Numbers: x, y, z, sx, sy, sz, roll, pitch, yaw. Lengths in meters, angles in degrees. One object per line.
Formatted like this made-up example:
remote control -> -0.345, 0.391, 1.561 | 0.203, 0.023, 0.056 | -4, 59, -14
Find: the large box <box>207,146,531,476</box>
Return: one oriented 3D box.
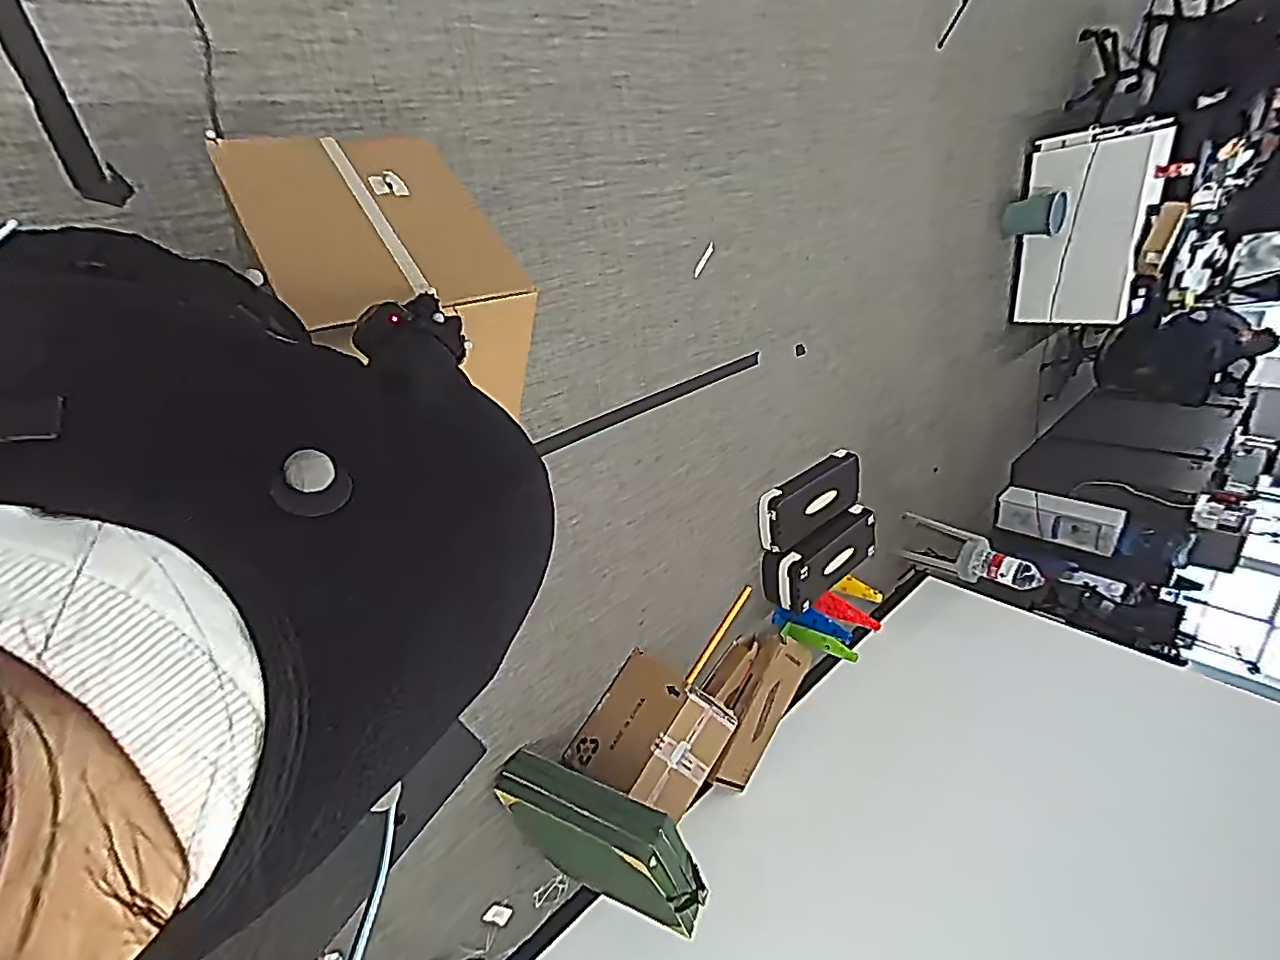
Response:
large box -> -0.424, -0.283, 0.895 | 0.320, 0.408, 0.320 | -23, 156, -32
